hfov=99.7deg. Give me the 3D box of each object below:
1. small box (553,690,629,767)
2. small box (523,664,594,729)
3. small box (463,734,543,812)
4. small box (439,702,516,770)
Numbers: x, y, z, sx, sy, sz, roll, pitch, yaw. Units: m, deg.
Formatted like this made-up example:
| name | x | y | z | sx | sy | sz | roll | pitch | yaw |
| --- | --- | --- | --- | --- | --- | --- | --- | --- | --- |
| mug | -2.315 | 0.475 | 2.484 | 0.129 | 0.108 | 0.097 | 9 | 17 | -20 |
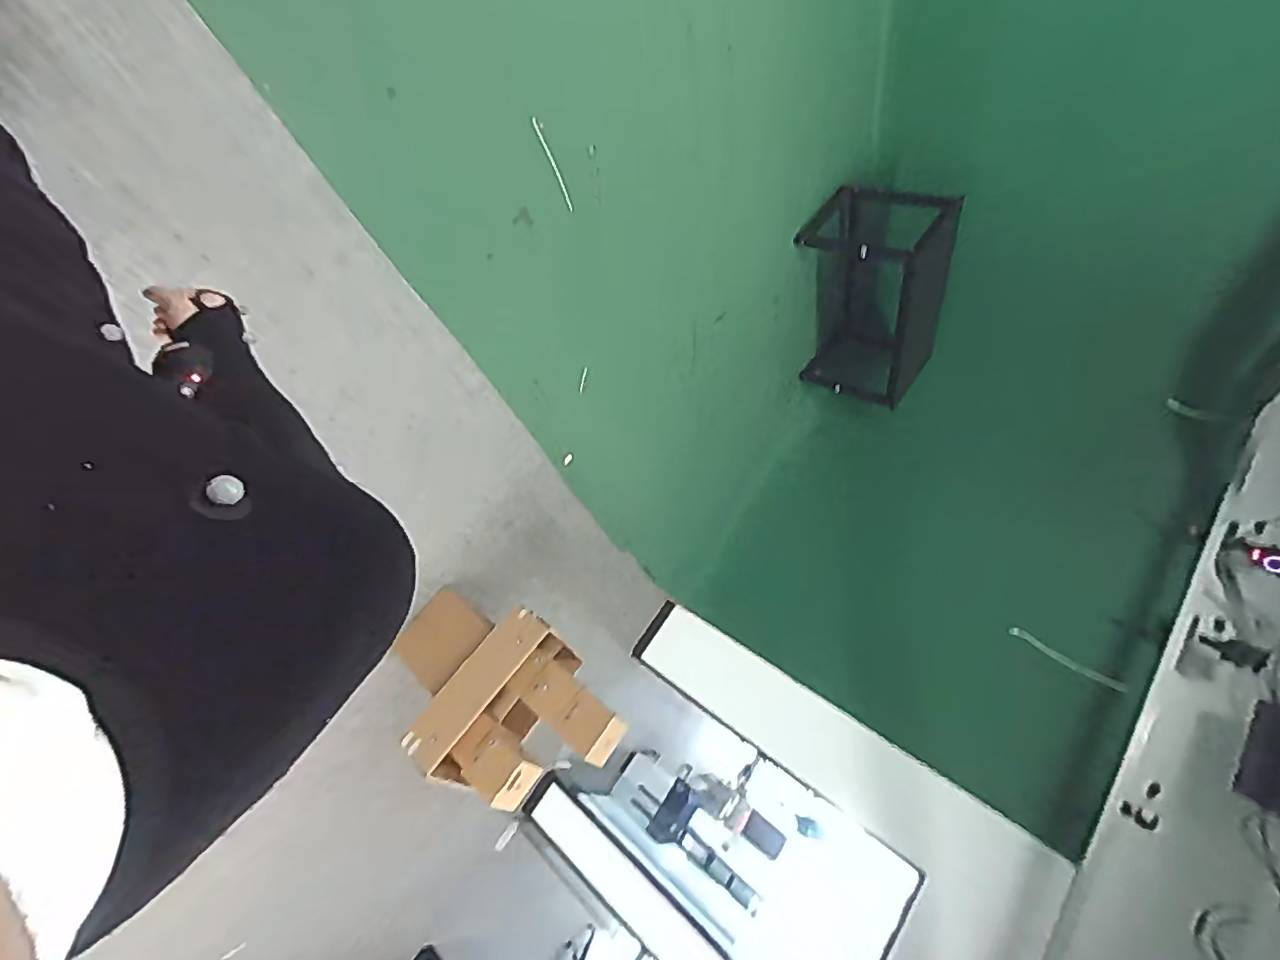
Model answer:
| name | x | y | z | sx | sy | sz | roll | pitch | yaw |
| --- | --- | --- | --- | --- | --- | --- | --- | --- | --- |
| small box | -0.171 | 0.863 | 1.883 | 0.168 | 0.176 | 0.179 | -51 | 146 | -19 |
| small box | -0.292 | 0.800 | 1.972 | 0.168 | 0.176 | 0.179 | -51 | 146 | -18 |
| small box | -0.475 | 1.010 | 1.872 | 0.168 | 0.176 | 0.179 | -51 | 145 | -17 |
| small box | -0.591 | 0.944 | 1.969 | 0.168 | 0.176 | 0.179 | -48 | 144 | -21 |
